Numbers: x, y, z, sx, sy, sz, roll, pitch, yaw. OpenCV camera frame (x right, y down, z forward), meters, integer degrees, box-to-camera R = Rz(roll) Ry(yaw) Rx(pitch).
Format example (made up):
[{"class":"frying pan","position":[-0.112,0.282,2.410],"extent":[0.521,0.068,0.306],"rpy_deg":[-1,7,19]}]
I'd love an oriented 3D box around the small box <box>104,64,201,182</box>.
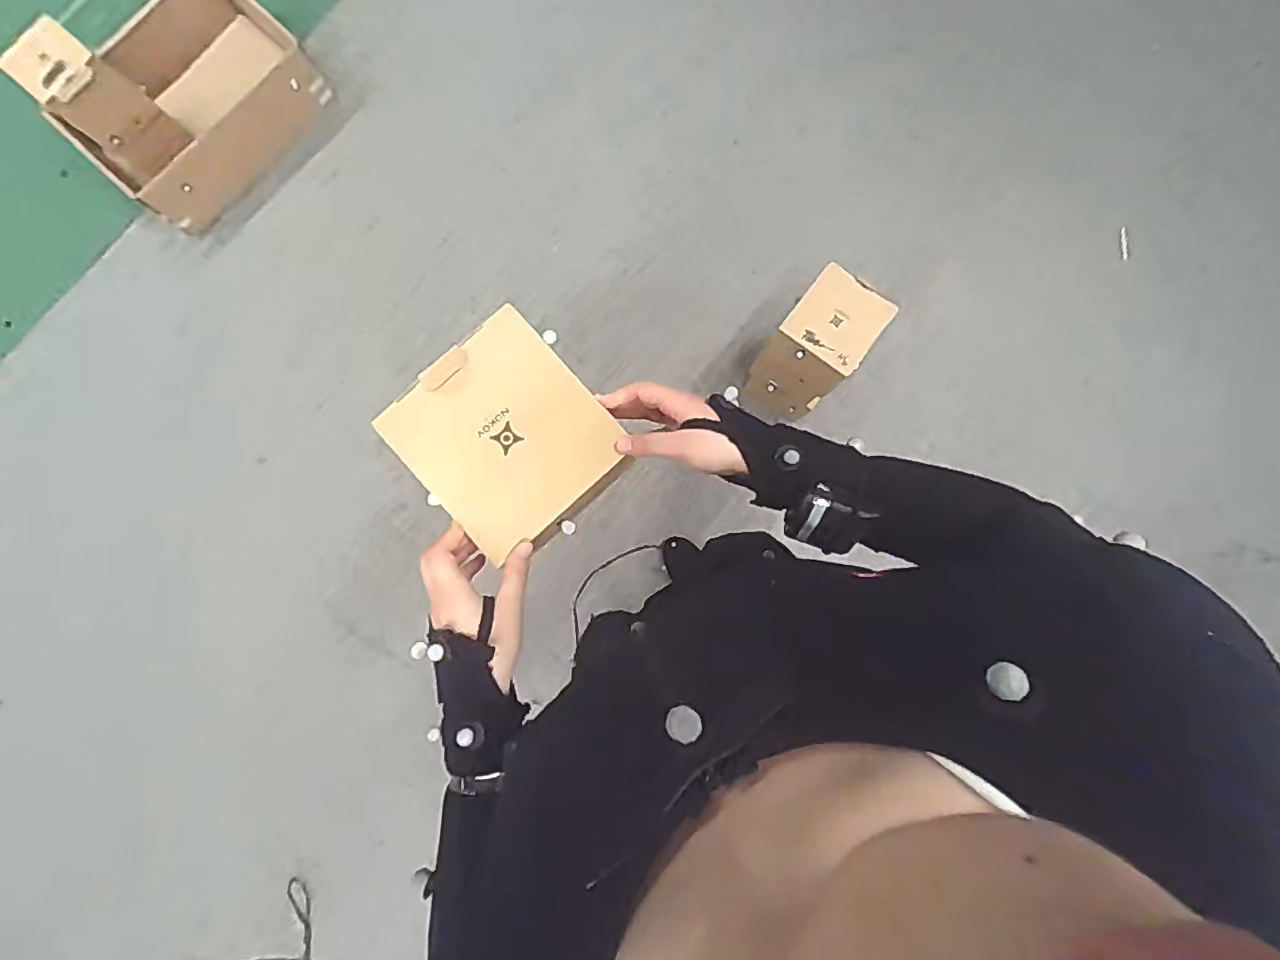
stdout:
[{"class":"small box","position":[-1.379,-0.968,1.482],"extent":[0.179,0.176,0.168],"rpy_deg":[39,86,4]}]

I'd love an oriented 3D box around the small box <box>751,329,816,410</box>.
[{"class":"small box","position":[0.386,-0.294,1.291],"extent":[0.168,0.176,0.179],"rpy_deg":[38,87,5]}]

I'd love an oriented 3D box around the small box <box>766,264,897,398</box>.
[{"class":"small box","position":[0.385,-0.301,1.127],"extent":[0.168,0.176,0.179],"rpy_deg":[38,85,5]}]

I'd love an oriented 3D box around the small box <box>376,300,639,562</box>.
[{"class":"small box","position":[-0.115,-0.041,0.551],"extent":[0.168,0.176,0.179],"rpy_deg":[-42,87,-2]}]

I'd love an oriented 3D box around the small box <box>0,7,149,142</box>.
[{"class":"small box","position":[-1.375,-0.972,1.318],"extent":[0.179,0.176,0.168],"rpy_deg":[41,85,4]}]
